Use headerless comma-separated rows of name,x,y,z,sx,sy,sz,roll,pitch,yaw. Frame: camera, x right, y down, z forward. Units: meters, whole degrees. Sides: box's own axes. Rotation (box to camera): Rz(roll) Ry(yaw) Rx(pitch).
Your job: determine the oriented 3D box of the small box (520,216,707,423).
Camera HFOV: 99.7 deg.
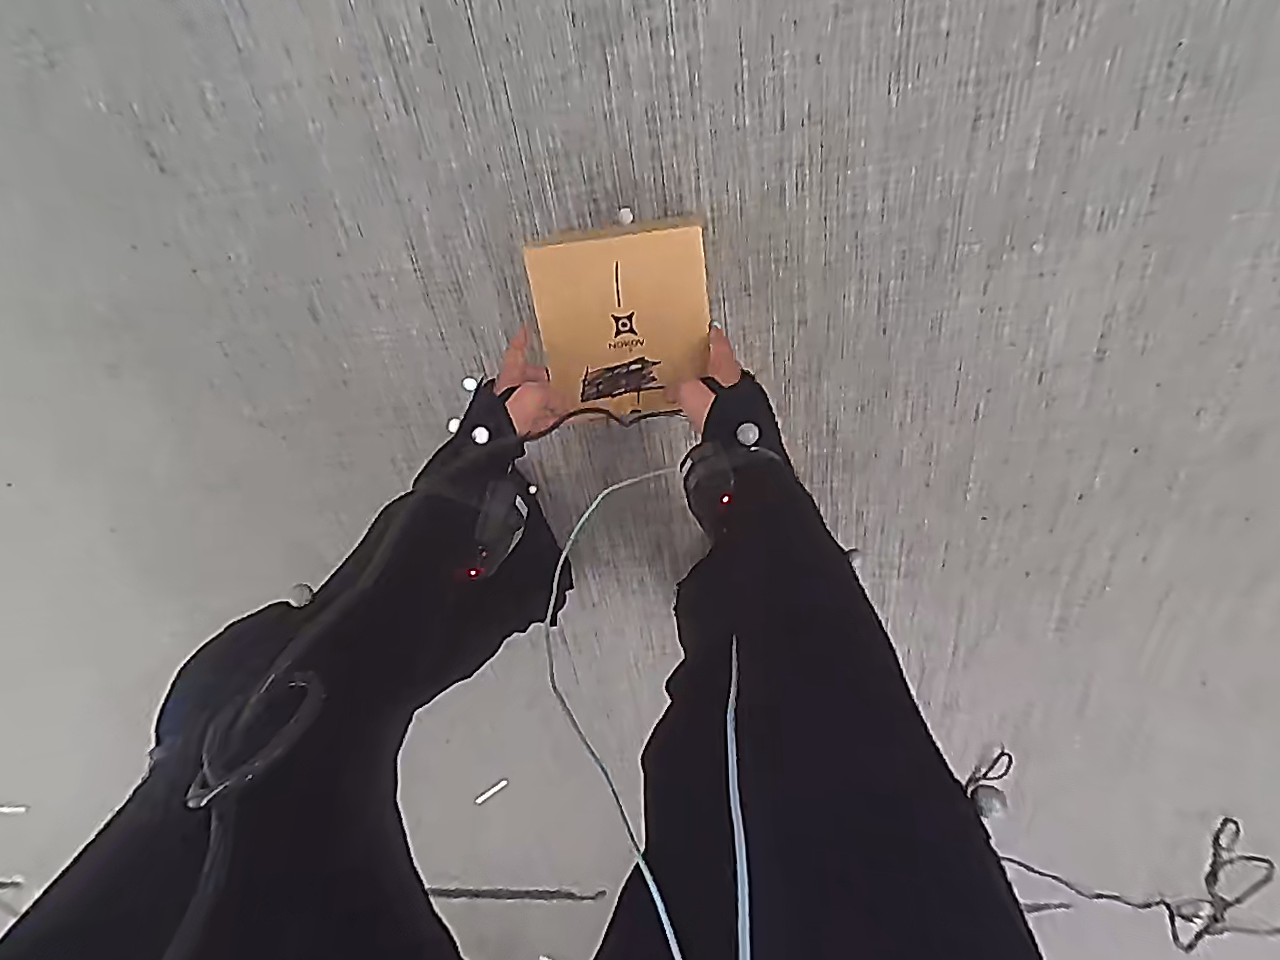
small box,-0.015,-0.179,0.590,0.168,0.176,0.179,-5,118,6
